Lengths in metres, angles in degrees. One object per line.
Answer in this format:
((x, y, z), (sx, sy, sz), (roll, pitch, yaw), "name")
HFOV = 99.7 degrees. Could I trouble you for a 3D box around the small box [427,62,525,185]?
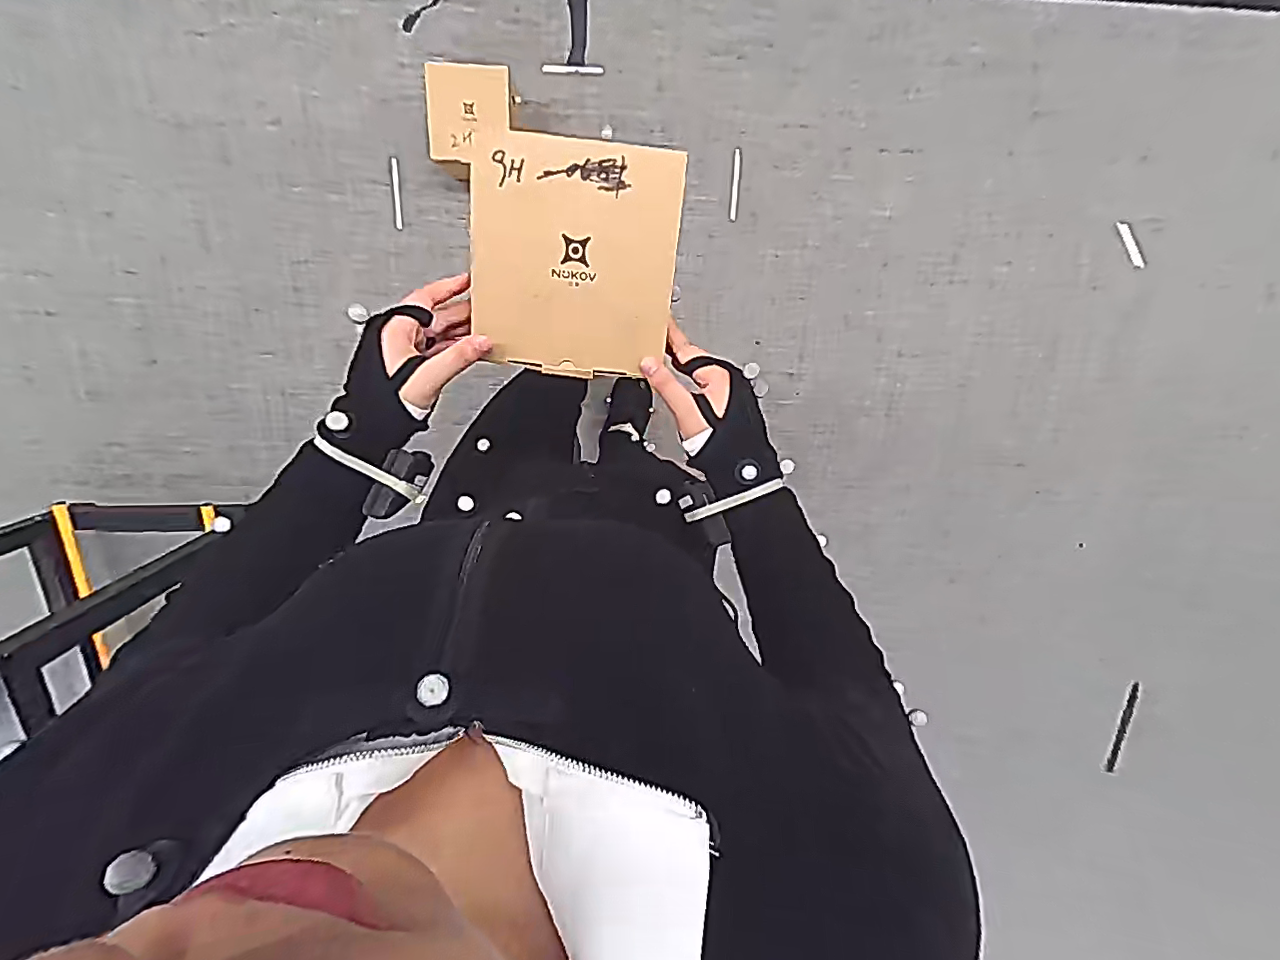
((-0.346, -0.760, 1.168), (0.168, 0.176, 0.179), (2, 107, -2), "small box")
